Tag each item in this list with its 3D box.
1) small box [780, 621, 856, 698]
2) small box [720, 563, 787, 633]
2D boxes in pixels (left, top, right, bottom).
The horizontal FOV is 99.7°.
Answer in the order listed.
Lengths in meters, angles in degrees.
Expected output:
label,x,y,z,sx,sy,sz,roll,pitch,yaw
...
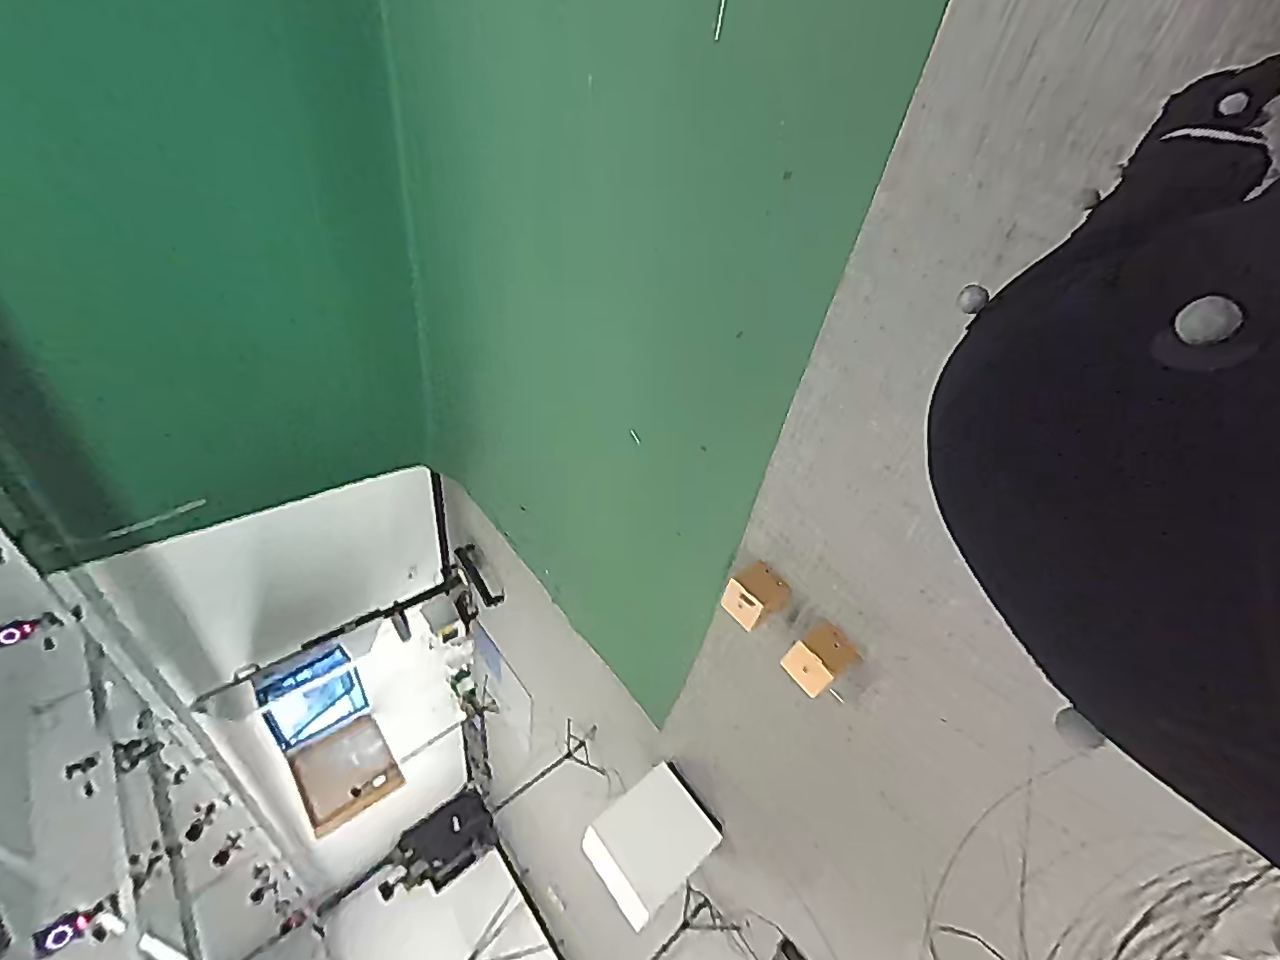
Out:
label,x,y,z,sx,sy,sz,roll,pitch,yaw
small box,0.649,0.650,1.963,0.168,0.176,0.179,46,139,27
small box,0.448,0.458,2.119,0.168,0.176,0.179,42,138,31
